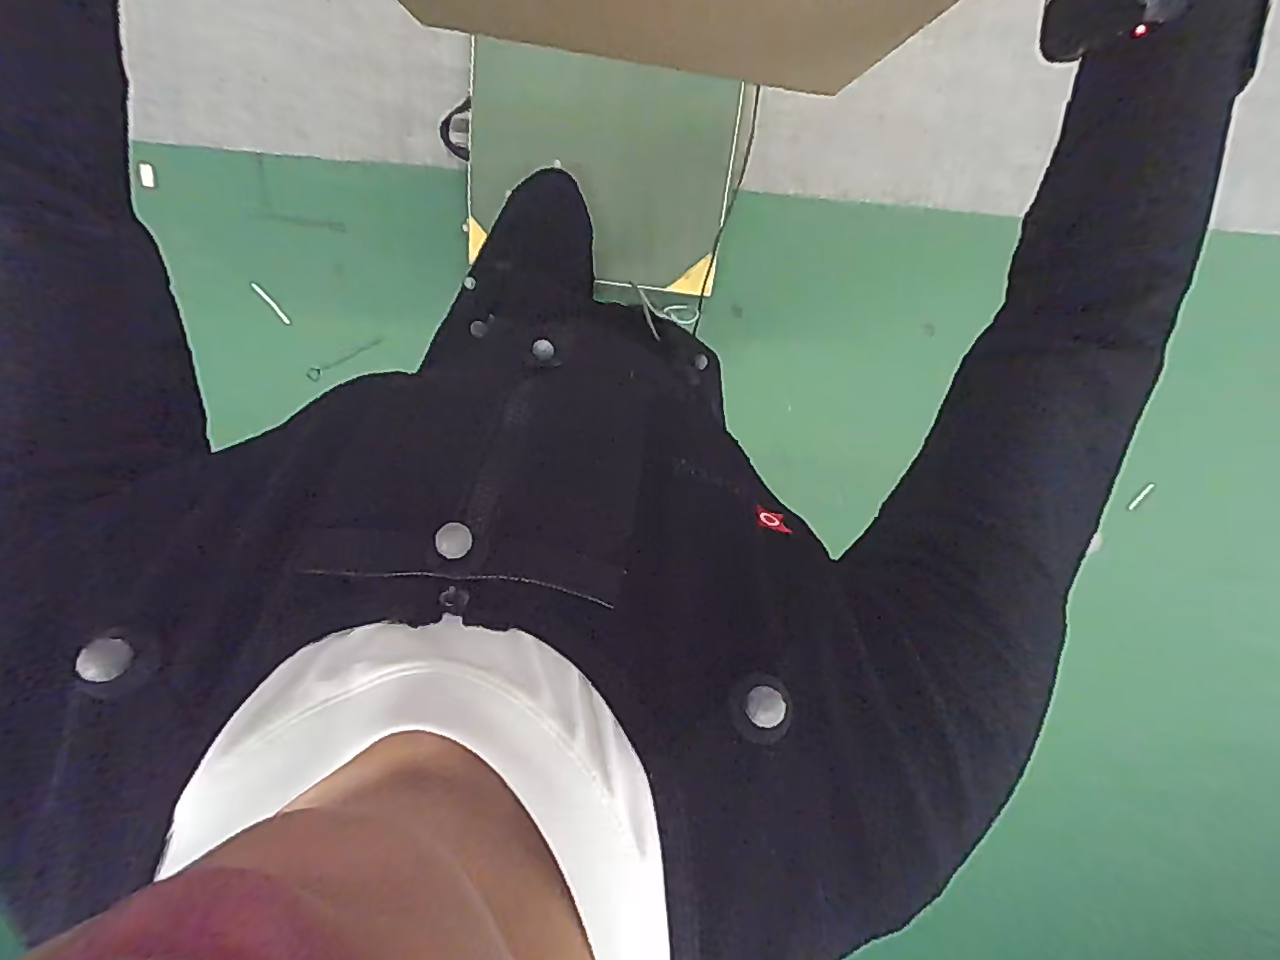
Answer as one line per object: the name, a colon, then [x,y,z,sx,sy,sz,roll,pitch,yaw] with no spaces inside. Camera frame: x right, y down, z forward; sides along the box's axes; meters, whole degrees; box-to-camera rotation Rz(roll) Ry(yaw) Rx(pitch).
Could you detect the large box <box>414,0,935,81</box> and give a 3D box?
large box: [0.017,-0.485,0.320,0.408,0.320,0.320,7,114,-4]
